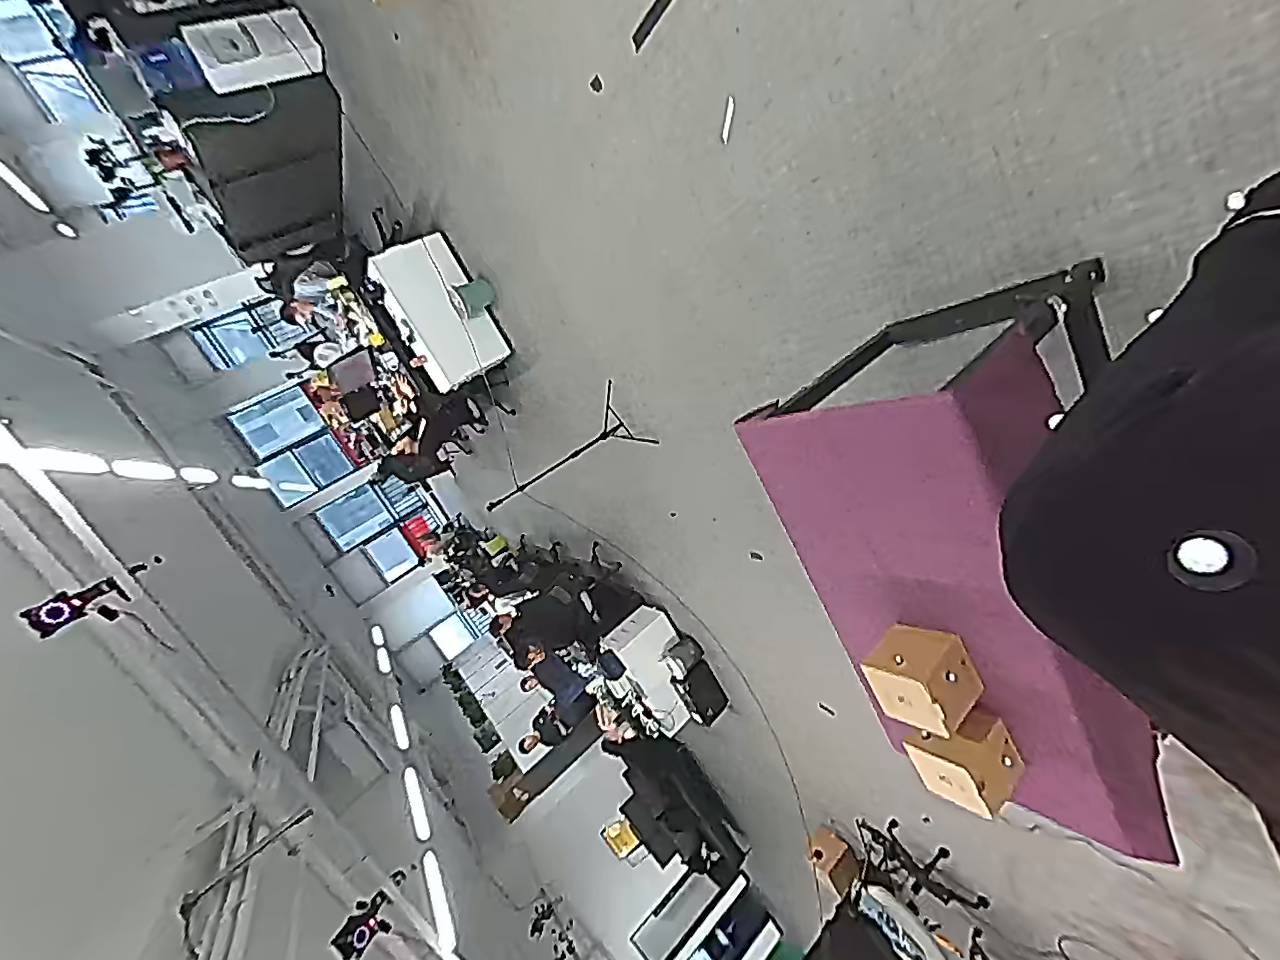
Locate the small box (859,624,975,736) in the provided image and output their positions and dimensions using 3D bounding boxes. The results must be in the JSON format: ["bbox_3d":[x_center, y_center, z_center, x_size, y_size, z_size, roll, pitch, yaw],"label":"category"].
[{"bbox_3d":[0.683,0.476,1.320,0.168,0.176,0.179,60,155,-12],"label":"small box"}]

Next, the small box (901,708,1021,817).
[{"bbox_3d":[0.809,0.689,1.362,0.168,0.176,0.179,59,155,-11],"label":"small box"}]
